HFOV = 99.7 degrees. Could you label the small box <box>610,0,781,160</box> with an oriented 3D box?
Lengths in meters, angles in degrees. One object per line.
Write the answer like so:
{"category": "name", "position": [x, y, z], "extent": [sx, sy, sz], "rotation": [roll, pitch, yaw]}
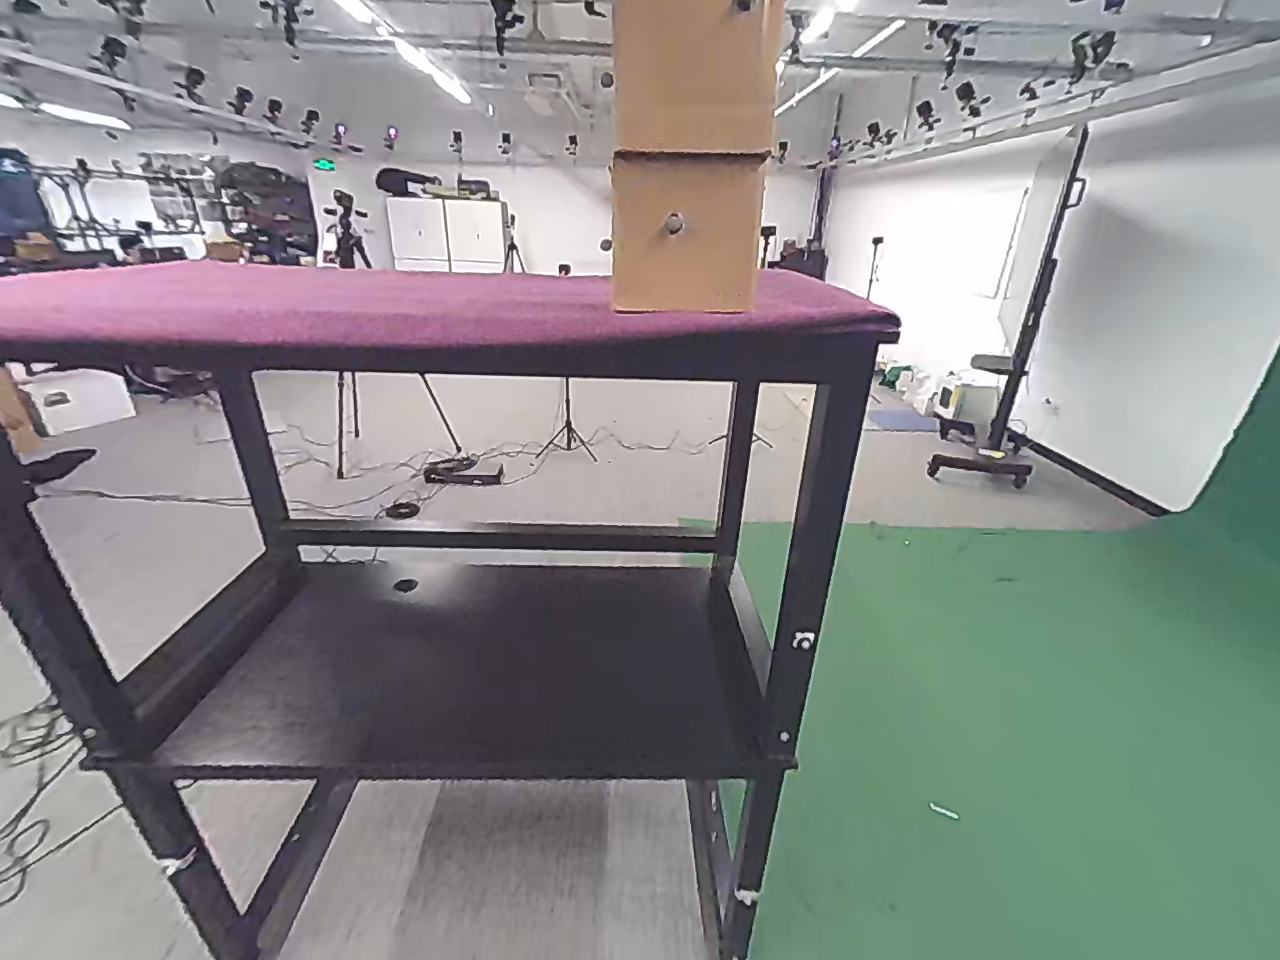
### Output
{"category": "small box", "position": [0.056, -0.453, 0.624], "extent": [0.179, 0.176, 0.168], "rotation": [0, 23, -1]}

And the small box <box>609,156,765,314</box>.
{"category": "small box", "position": [0.054, -0.308, 0.700], "extent": [0.179, 0.176, 0.168], "rotation": [0, 23, -1]}
